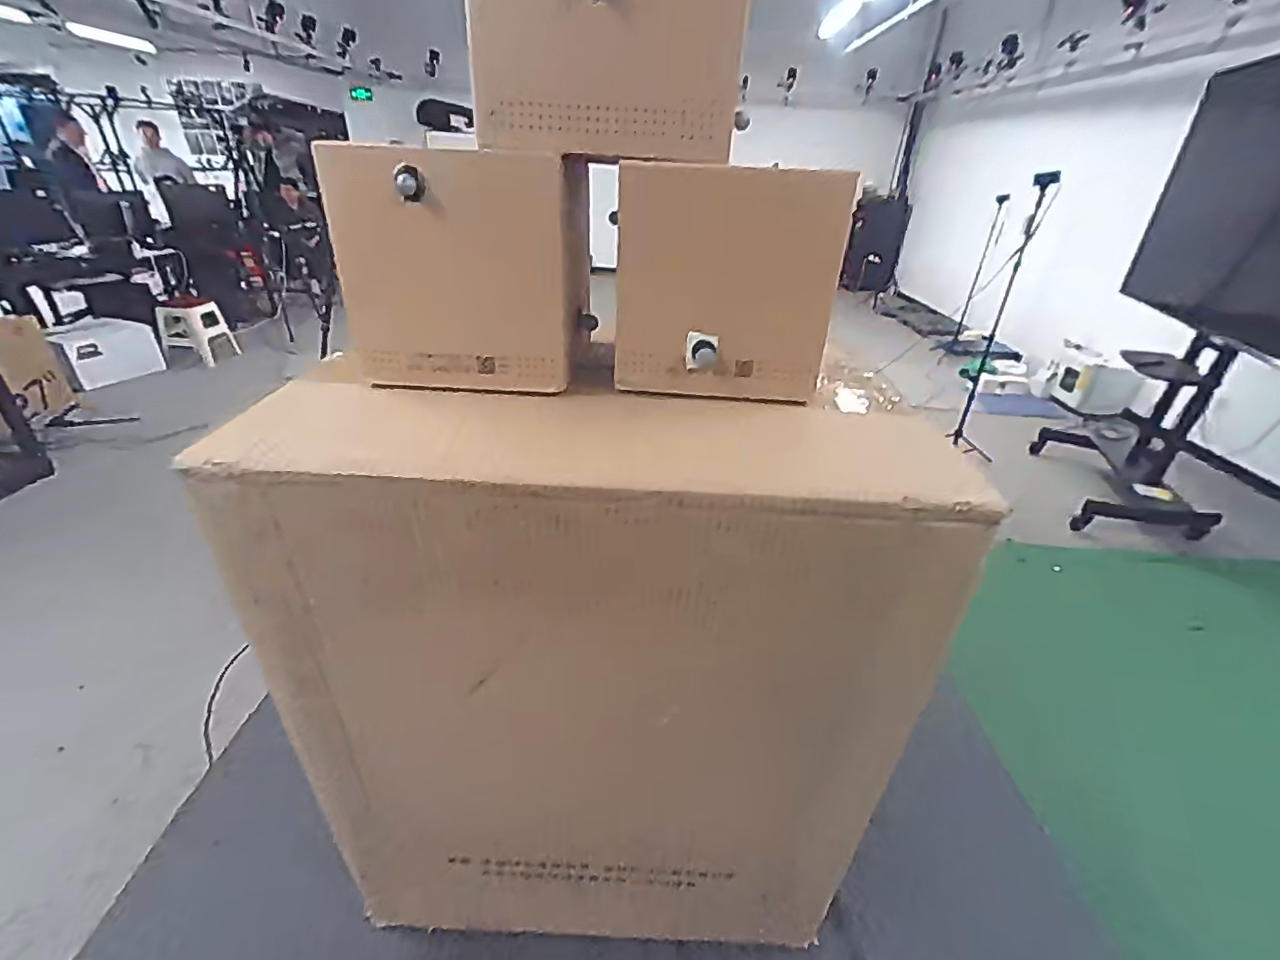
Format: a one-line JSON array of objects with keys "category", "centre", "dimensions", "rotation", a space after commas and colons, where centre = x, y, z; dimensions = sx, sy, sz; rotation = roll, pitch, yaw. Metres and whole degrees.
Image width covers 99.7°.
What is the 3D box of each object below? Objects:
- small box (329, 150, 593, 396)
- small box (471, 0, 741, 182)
[{"category": "small box", "centre": [-0.134, -0.183, 0.478], "dimensions": [0.168, 0.176, 0.179], "rotation": [2, 27, 2]}, {"category": "small box", "centre": [-0.020, -0.328, 0.414], "dimensions": [0.179, 0.176, 0.168], "rotation": [2, 27, 0]}]
